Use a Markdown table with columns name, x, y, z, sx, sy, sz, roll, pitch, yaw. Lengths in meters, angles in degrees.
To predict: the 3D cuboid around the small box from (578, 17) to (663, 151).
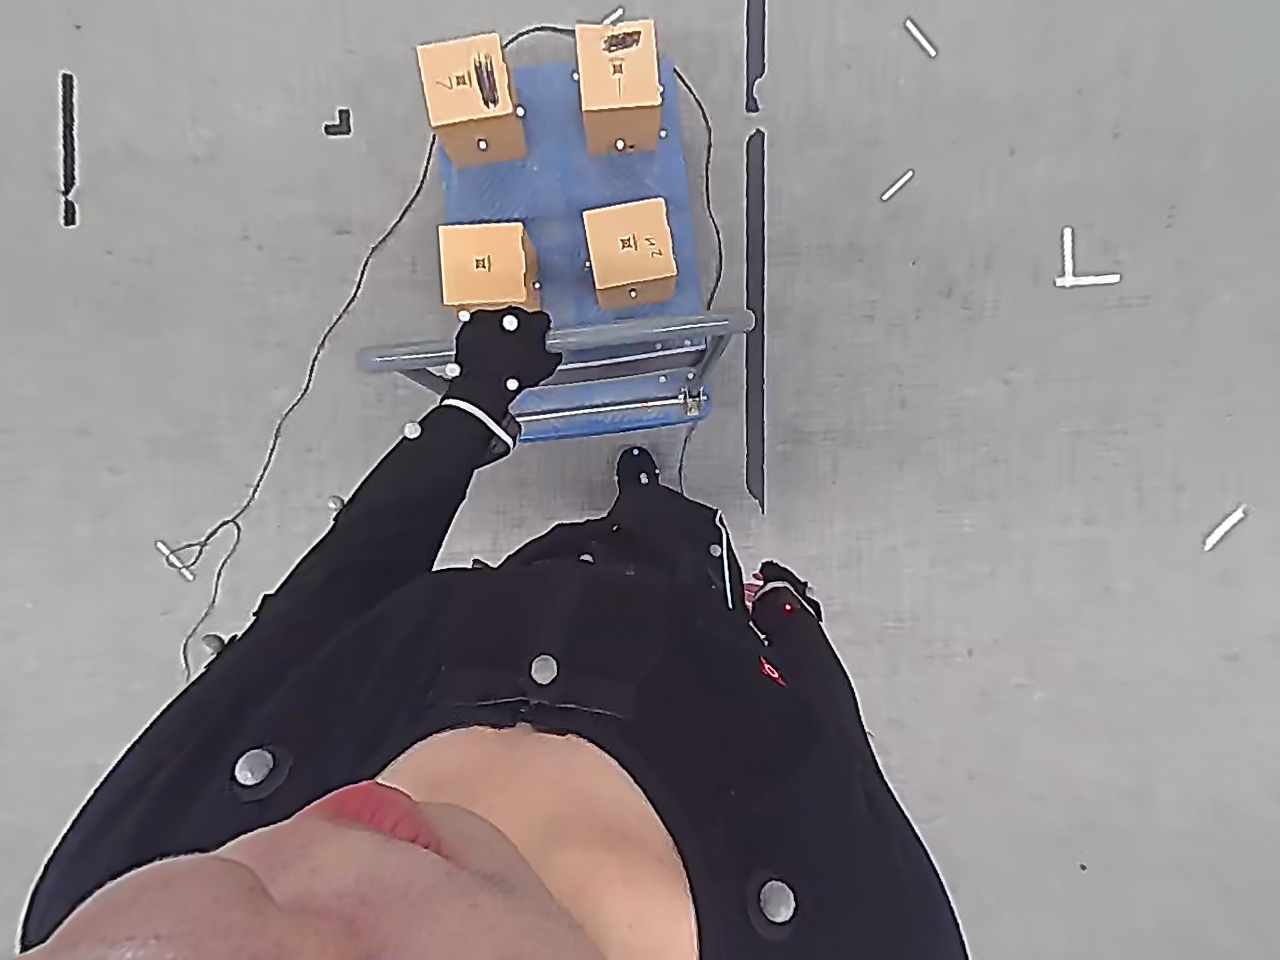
| name | x | y | z | sx | sy | sz | roll | pitch | yaw |
| --- | --- | --- | --- | --- | --- | --- | --- | --- | --- |
| small box | -0.042 | -0.863 | 1.192 | 0.168 | 0.176 | 0.179 | -5 | 93 | 0 |

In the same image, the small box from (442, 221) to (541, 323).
| name | x | y | z | sx | sy | sz | roll | pitch | yaw |
| --- | --- | --- | --- | --- | --- | --- | --- | --- | --- |
| small box | -0.323 | -0.455 | 1.204 | 0.179 | 0.176 | 0.168 | -4 | 91 | -2 |

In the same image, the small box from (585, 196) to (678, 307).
| name | x | y | z | sx | sy | sz | roll | pitch | yaw |
| --- | --- | --- | --- | --- | --- | --- | --- | --- | --- |
| small box | -0.017 | -0.499 | 1.204 | 0.179 | 0.176 | 0.168 | -10 | 92 | 0 |
